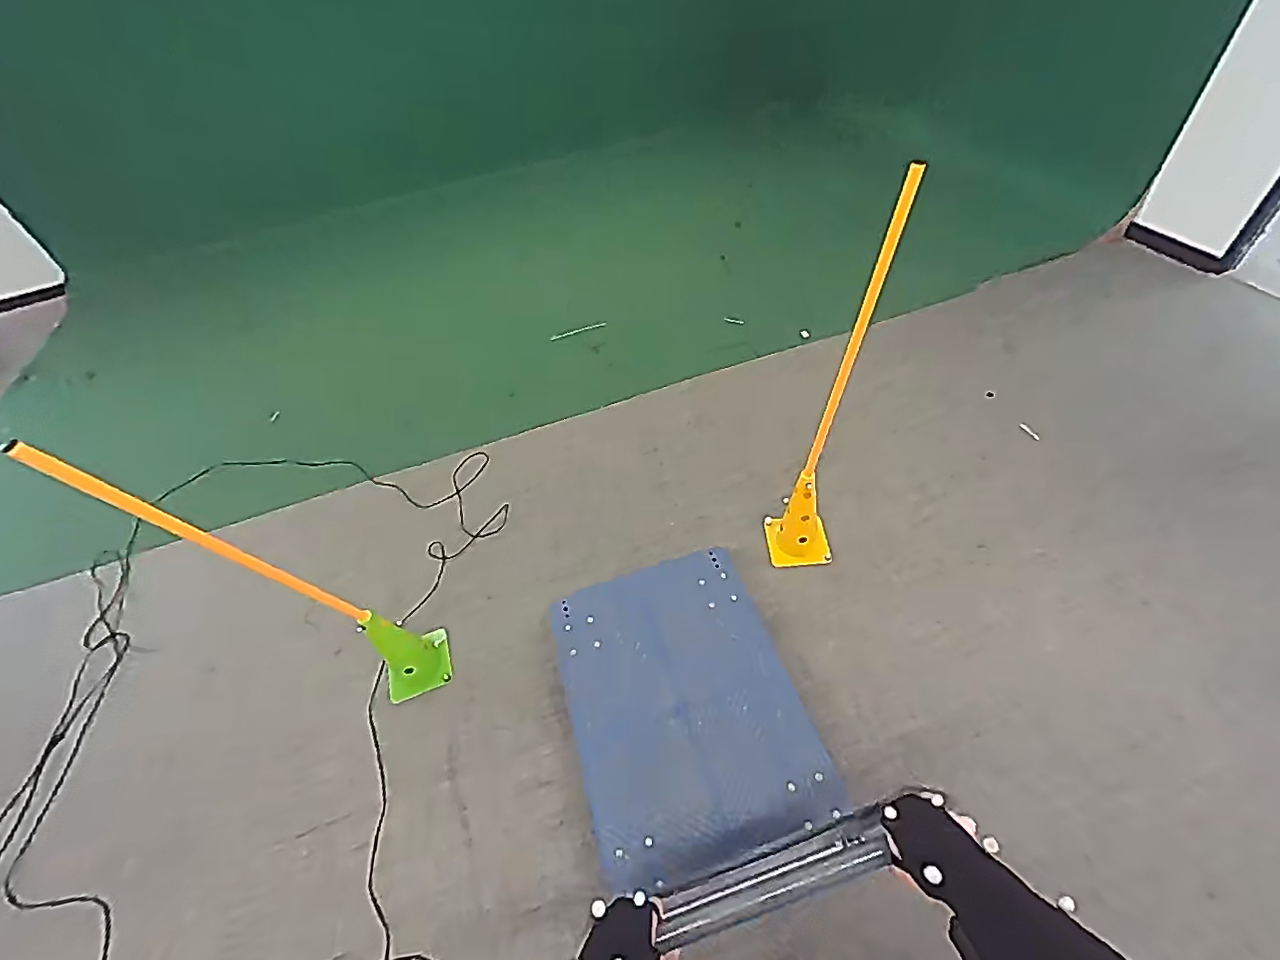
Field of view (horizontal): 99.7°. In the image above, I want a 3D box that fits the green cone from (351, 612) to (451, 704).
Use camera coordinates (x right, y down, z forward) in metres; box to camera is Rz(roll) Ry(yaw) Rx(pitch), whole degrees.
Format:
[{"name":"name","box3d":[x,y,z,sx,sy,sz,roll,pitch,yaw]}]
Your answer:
[{"name":"green cone","box3d":[-0.747,0.492,1.627,0.202,0.368,0.200,-22,49,-7]}]
